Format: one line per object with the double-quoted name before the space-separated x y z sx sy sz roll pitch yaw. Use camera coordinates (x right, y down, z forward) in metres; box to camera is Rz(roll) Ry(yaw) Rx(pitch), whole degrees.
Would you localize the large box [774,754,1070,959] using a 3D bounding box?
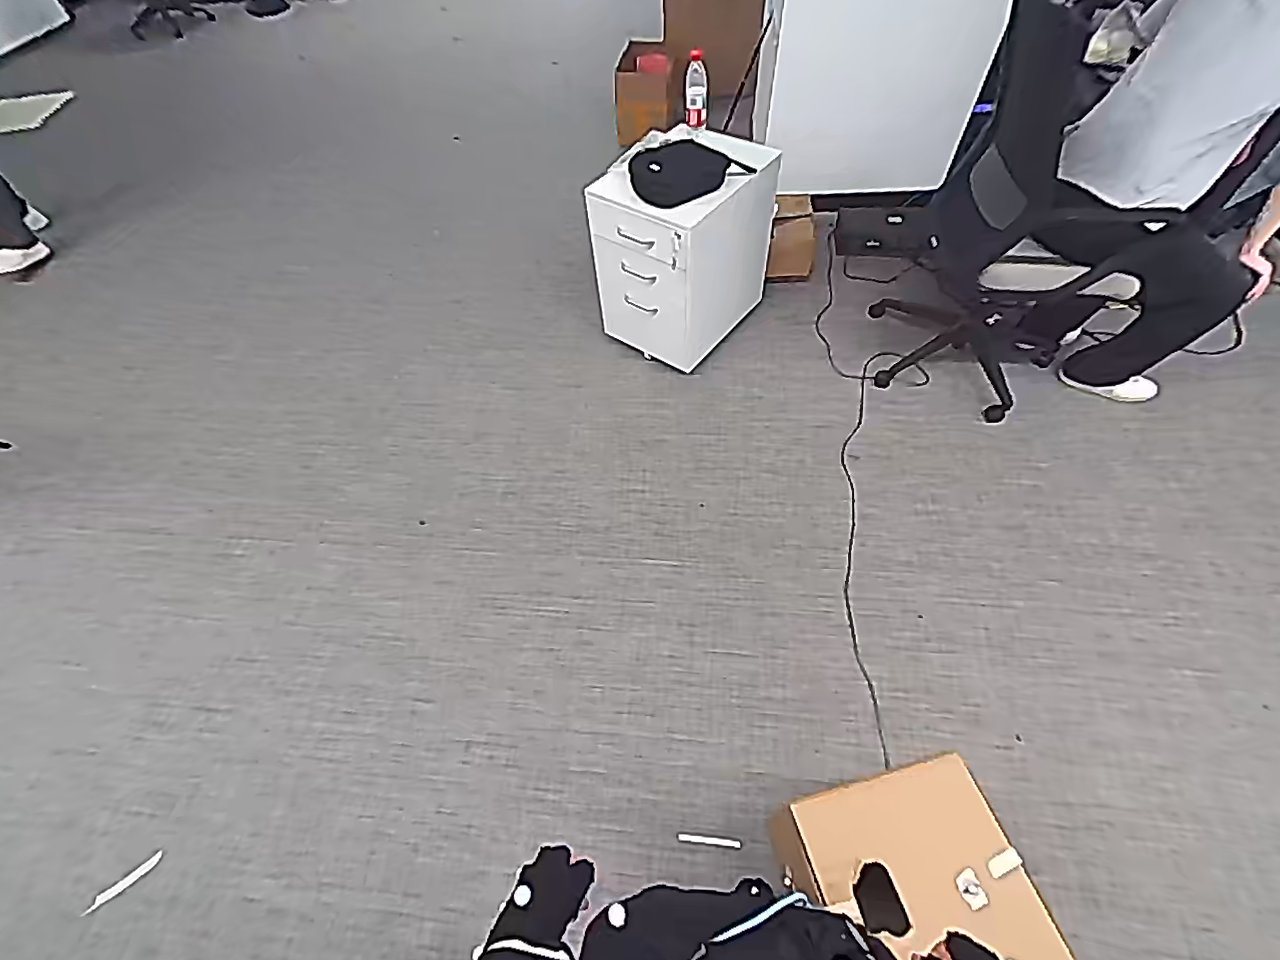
"large box" 0.464 0.743 0.994 0.320 0.408 0.320 -16 54 -3
